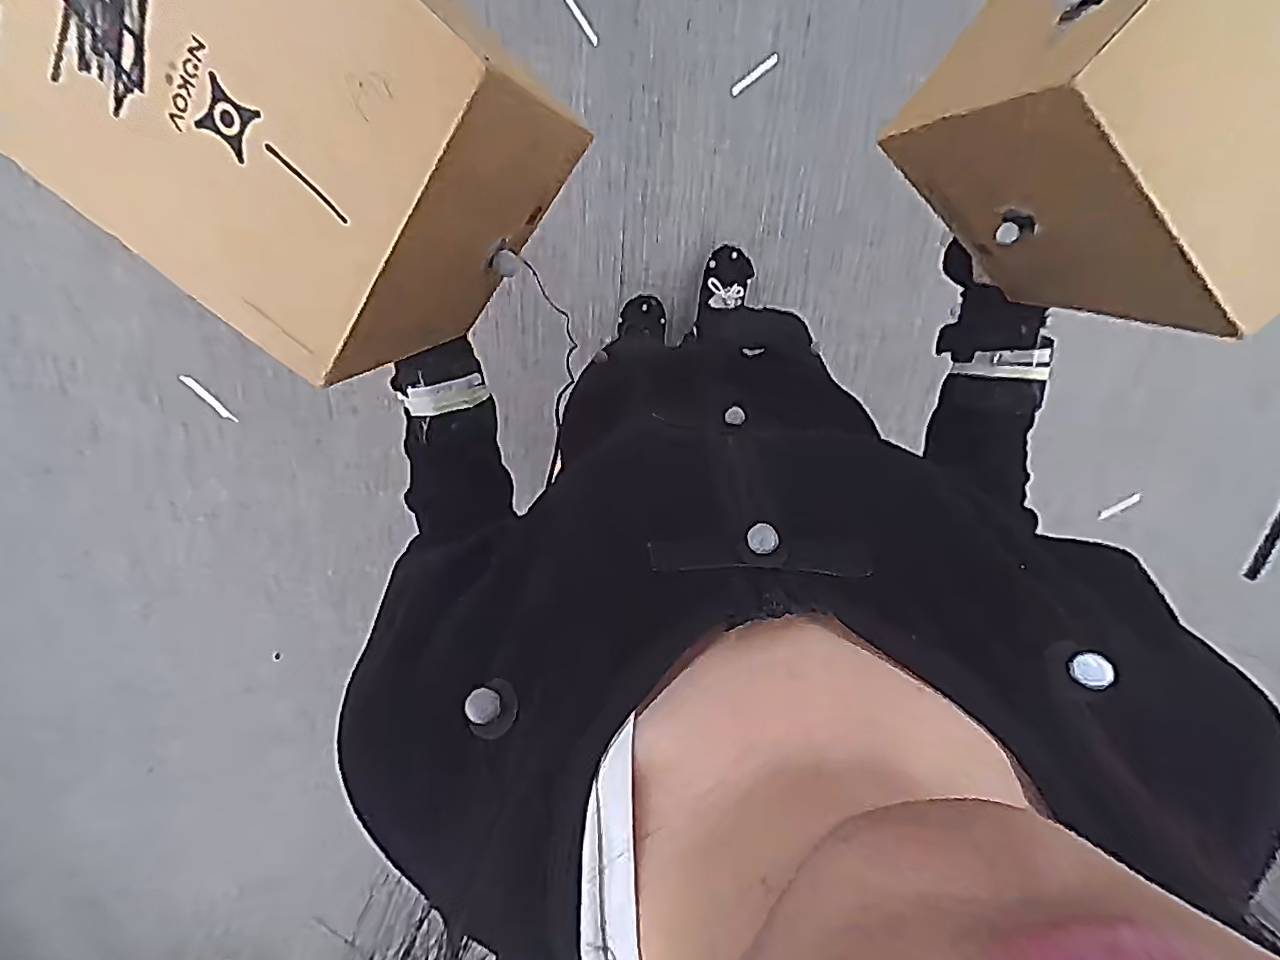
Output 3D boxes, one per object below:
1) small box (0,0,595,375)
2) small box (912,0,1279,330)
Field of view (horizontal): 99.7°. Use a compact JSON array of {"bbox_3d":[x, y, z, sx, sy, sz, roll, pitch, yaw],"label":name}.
[{"bbox_3d":[-0.150,-0.188,0.287,0.179,0.176,0.168,39,116,-10],"label":"small box"},{"bbox_3d":[0.282,-0.211,0.288,0.168,0.176,0.179,35,107,-20],"label":"small box"}]
